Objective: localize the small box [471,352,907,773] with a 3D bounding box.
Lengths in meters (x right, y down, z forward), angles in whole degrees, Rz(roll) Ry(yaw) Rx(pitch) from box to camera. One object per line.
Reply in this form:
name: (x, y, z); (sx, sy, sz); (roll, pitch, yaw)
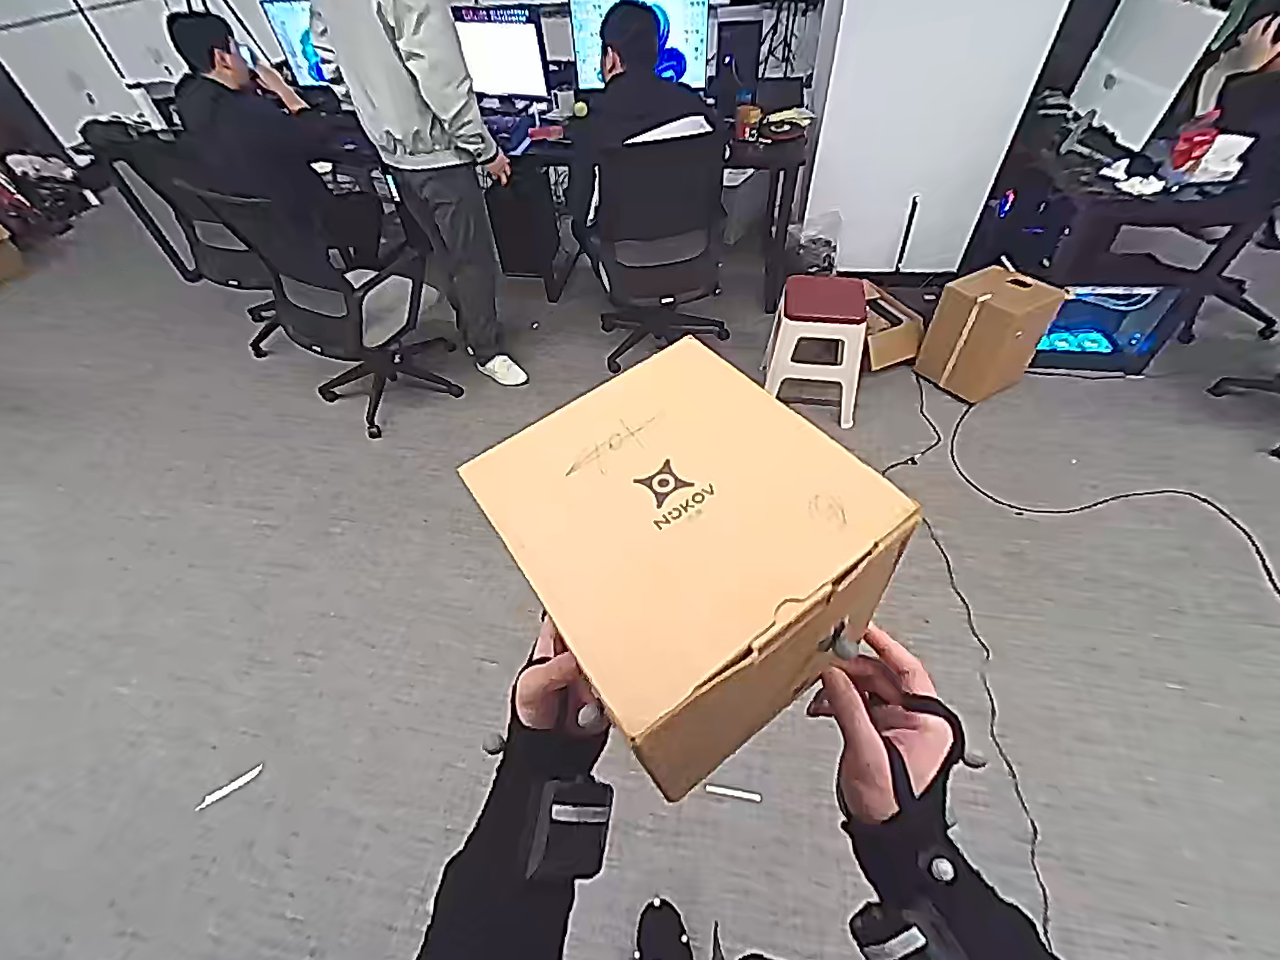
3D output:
small box: (0.026, 0.057, 0.346); (0.168, 0.176, 0.179); (-33, 53, -17)
